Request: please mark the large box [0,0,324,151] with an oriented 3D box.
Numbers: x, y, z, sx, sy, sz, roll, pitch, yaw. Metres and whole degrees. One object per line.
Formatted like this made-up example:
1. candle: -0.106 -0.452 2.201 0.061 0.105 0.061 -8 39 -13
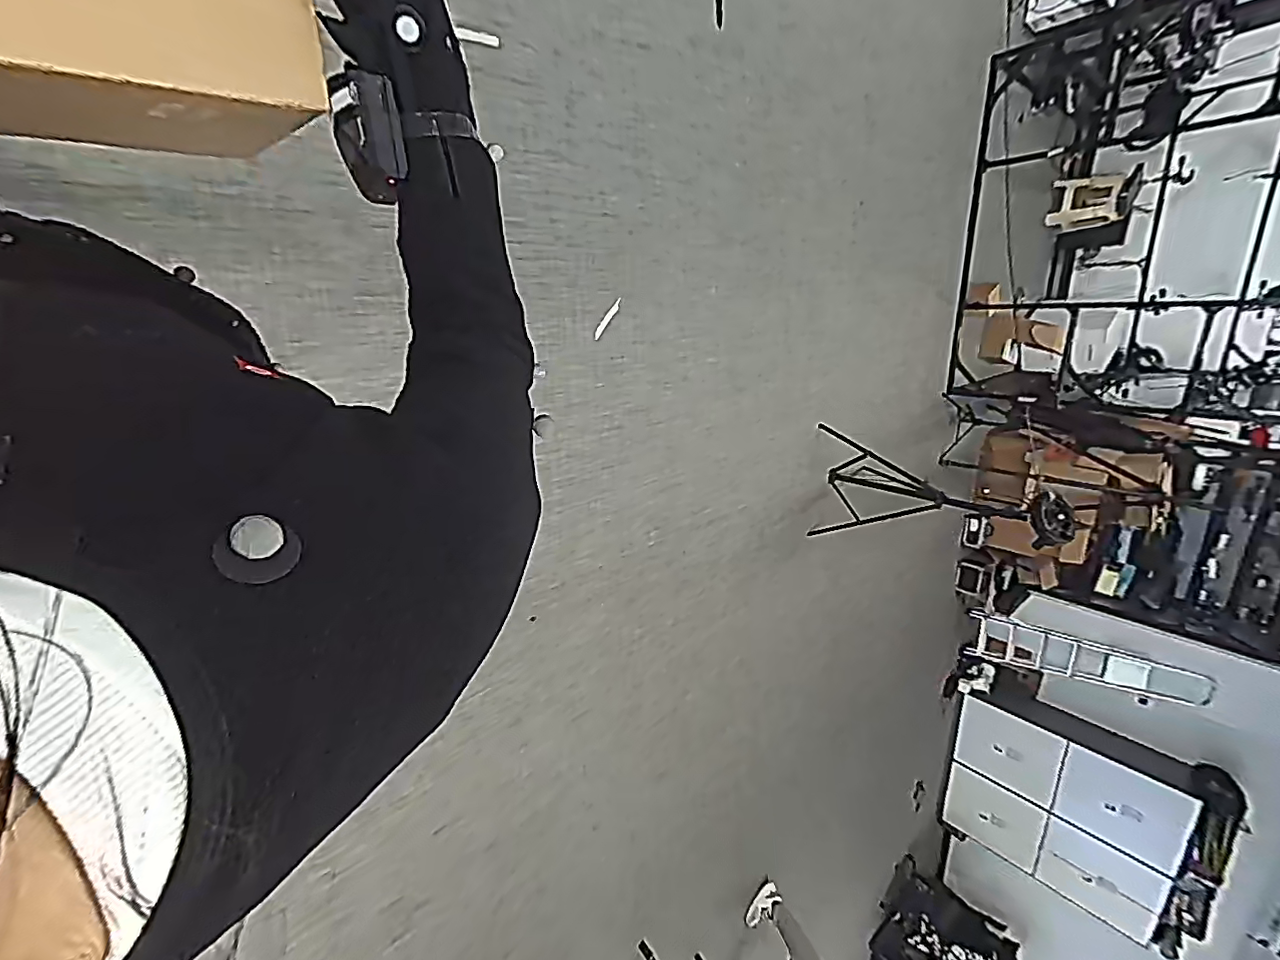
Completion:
1. large box: -0.447 -0.371 0.265 0.408 0.320 0.320 -19 122 -38
